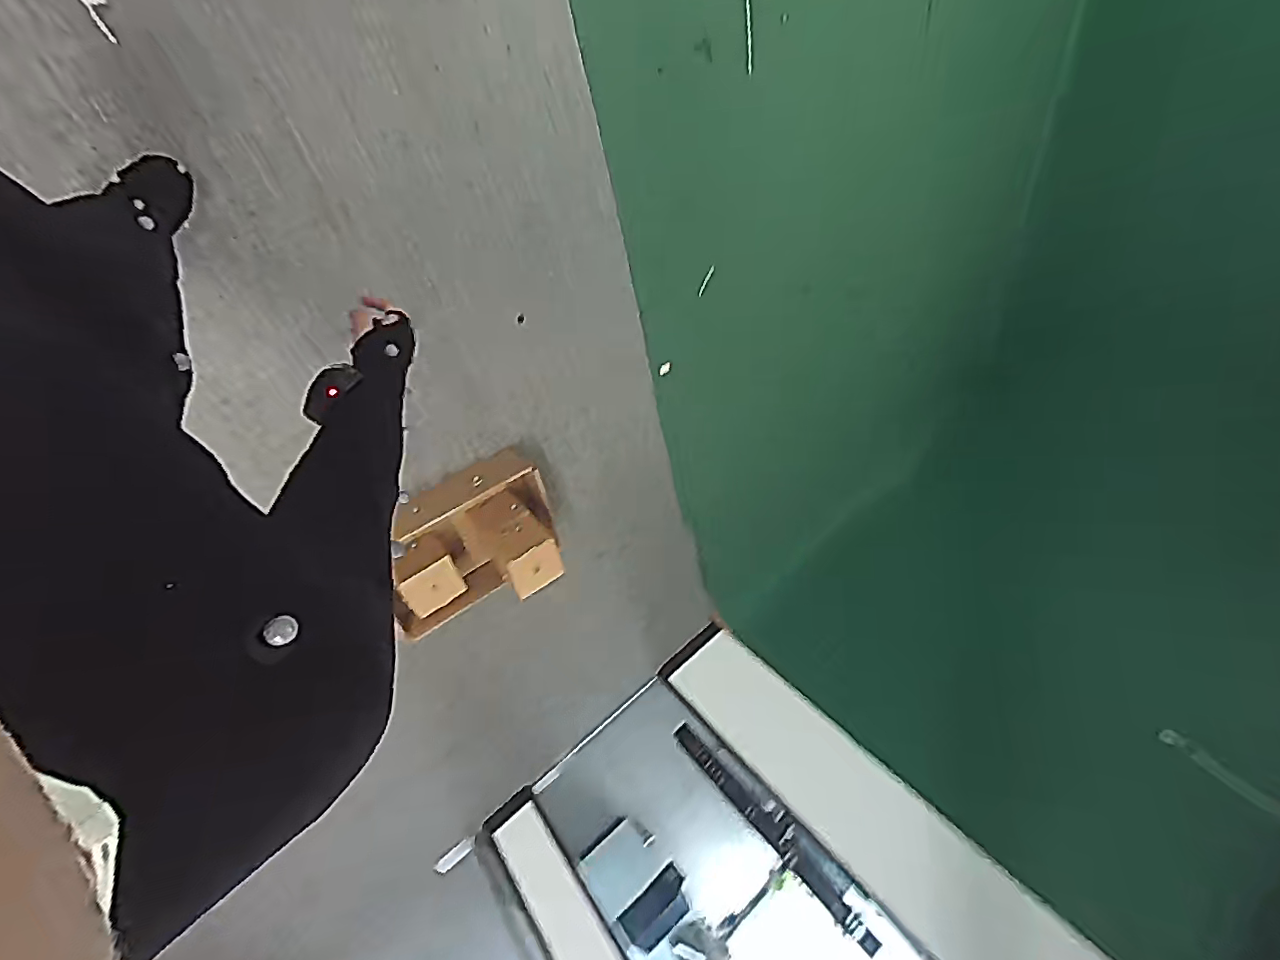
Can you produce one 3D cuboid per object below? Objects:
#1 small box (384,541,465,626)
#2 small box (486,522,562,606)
[{"bbox_3d":[-0.702,0.331,1.760,0.168,0.176,0.179,-32,133,-25],"label":"small box"},{"bbox_3d":[-0.380,0.269,1.772,0.168,0.176,0.179,-30,133,-23],"label":"small box"}]
